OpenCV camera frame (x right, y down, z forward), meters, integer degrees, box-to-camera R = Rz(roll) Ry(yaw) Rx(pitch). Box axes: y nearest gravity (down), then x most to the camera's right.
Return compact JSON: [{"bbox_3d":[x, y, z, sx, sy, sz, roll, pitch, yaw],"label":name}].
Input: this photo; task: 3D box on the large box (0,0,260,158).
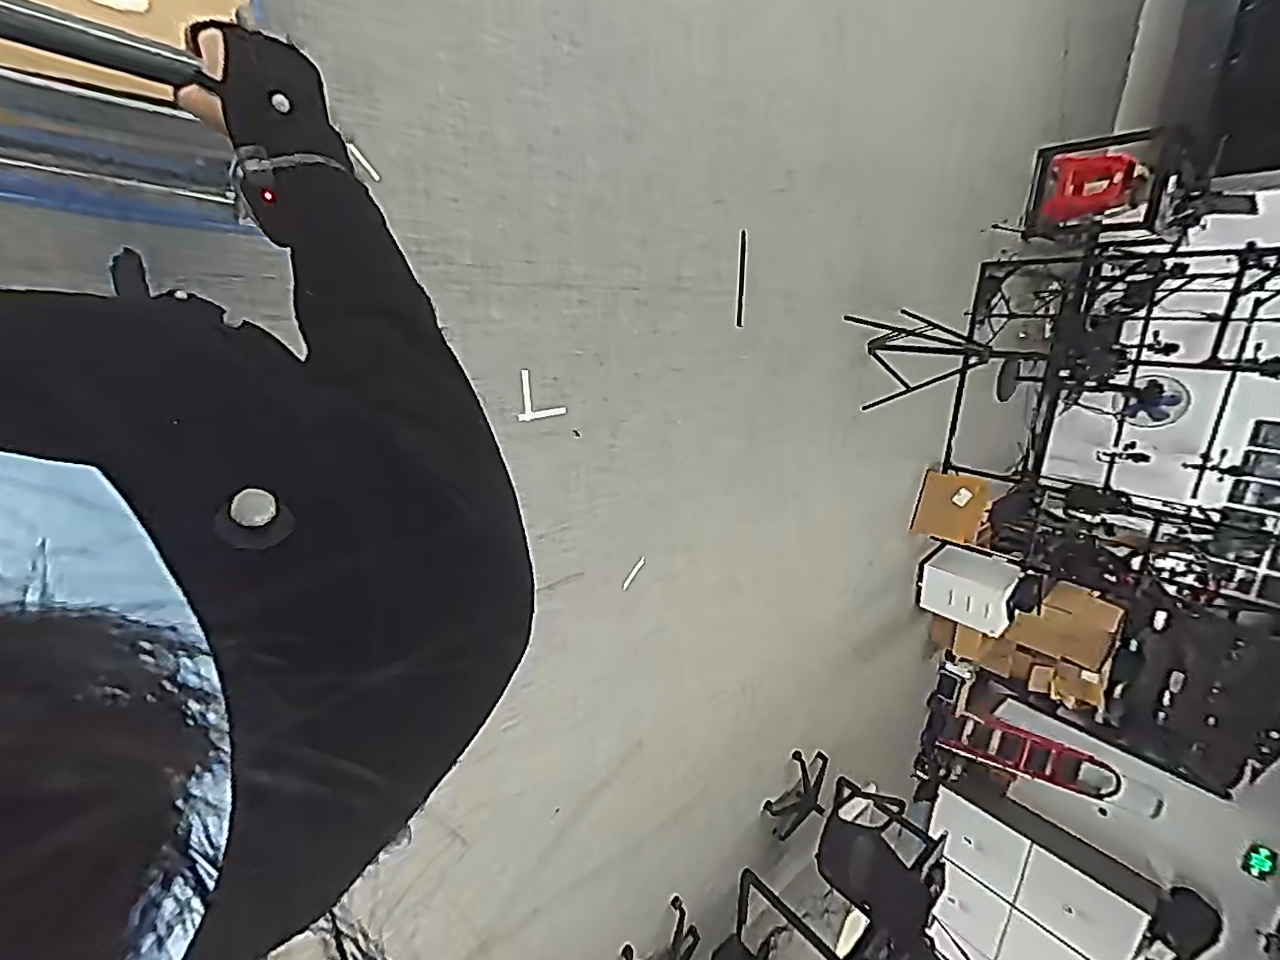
[{"bbox_3d":[-0.792,-0.661,0.712,0.408,0.320,0.320,-13,113,-41],"label":"large box"}]
